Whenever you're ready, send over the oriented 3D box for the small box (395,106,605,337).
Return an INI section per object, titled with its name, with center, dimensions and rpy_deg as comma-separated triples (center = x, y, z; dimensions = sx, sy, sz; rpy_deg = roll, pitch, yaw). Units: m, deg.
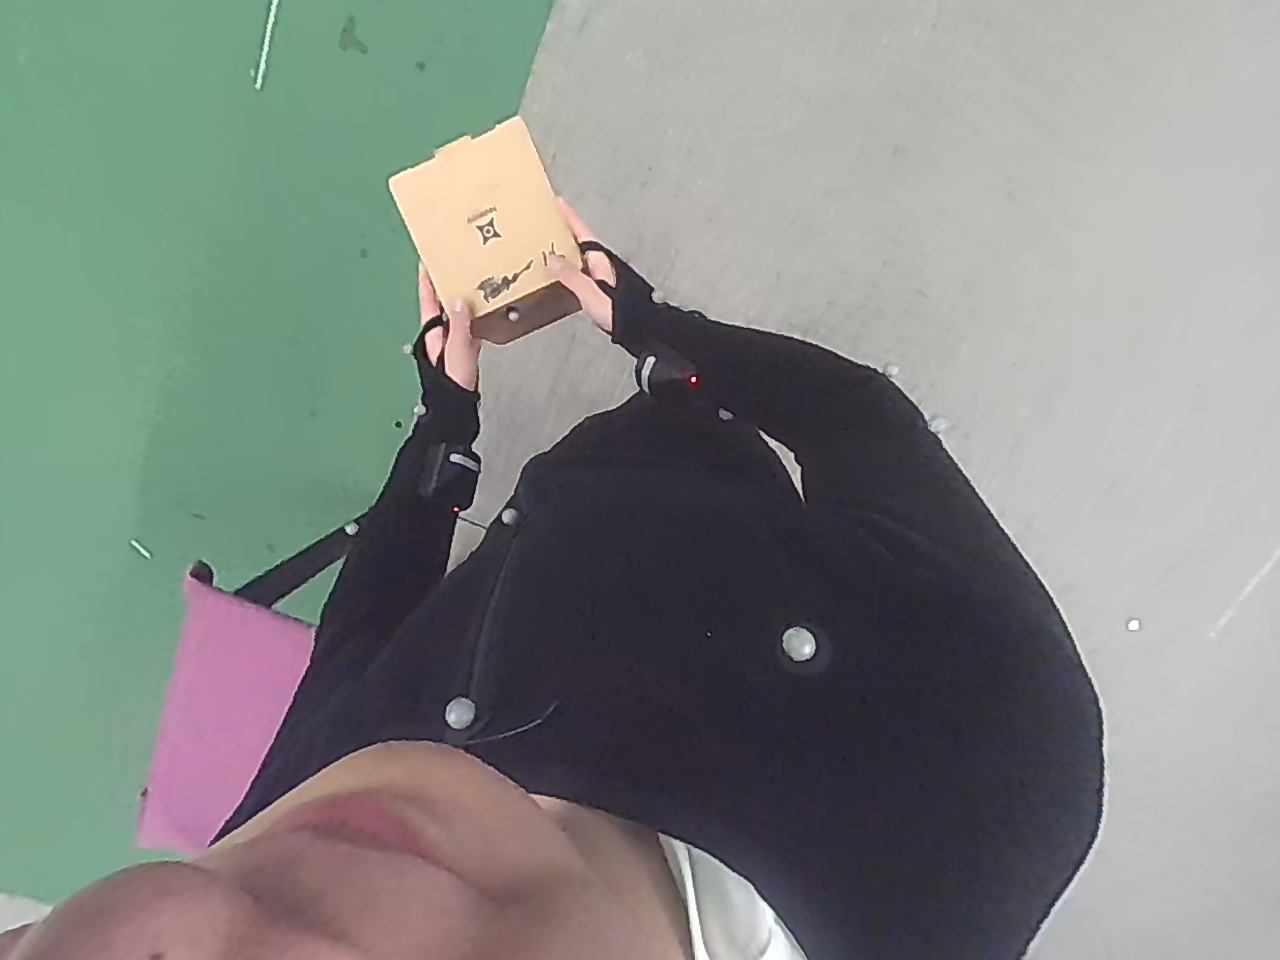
[small box]
center = -0.153, -0.292, 0.655
dimensions = 0.168, 0.176, 0.179
rpy_deg = -22, 97, 5
